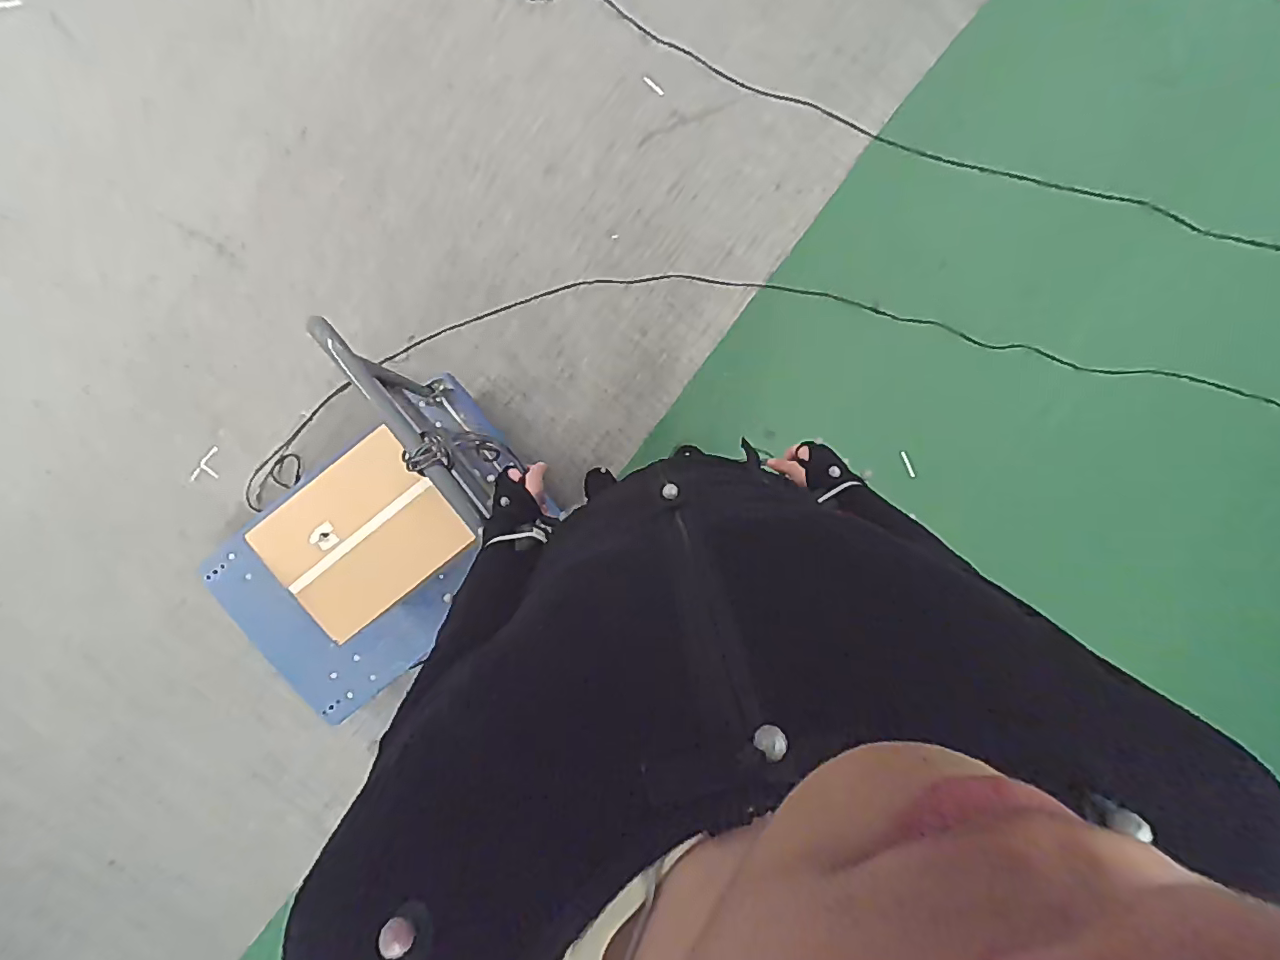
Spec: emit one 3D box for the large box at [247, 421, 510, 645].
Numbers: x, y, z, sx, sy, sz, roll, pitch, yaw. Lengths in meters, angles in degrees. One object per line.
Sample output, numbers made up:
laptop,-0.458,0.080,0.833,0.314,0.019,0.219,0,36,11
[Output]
large box,-0.585,0.104,1.290,0.408,0.320,0.320,-38,93,2
